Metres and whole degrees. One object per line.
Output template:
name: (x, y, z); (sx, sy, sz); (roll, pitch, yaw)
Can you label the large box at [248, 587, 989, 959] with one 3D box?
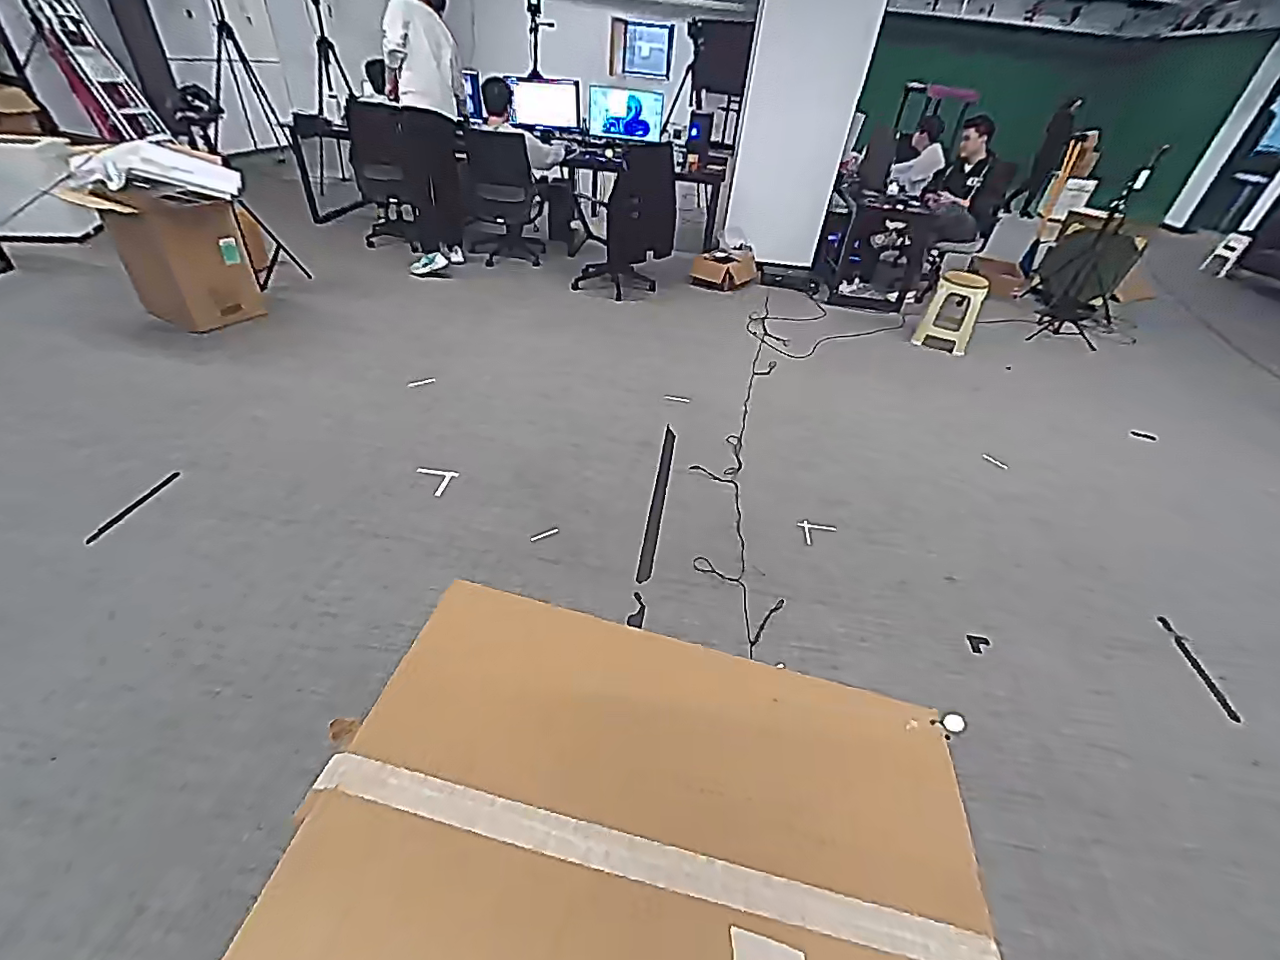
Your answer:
large box: (-0.012, 0.341, 0.424); (0.408, 0.320, 0.320); (15, 40, 2)
